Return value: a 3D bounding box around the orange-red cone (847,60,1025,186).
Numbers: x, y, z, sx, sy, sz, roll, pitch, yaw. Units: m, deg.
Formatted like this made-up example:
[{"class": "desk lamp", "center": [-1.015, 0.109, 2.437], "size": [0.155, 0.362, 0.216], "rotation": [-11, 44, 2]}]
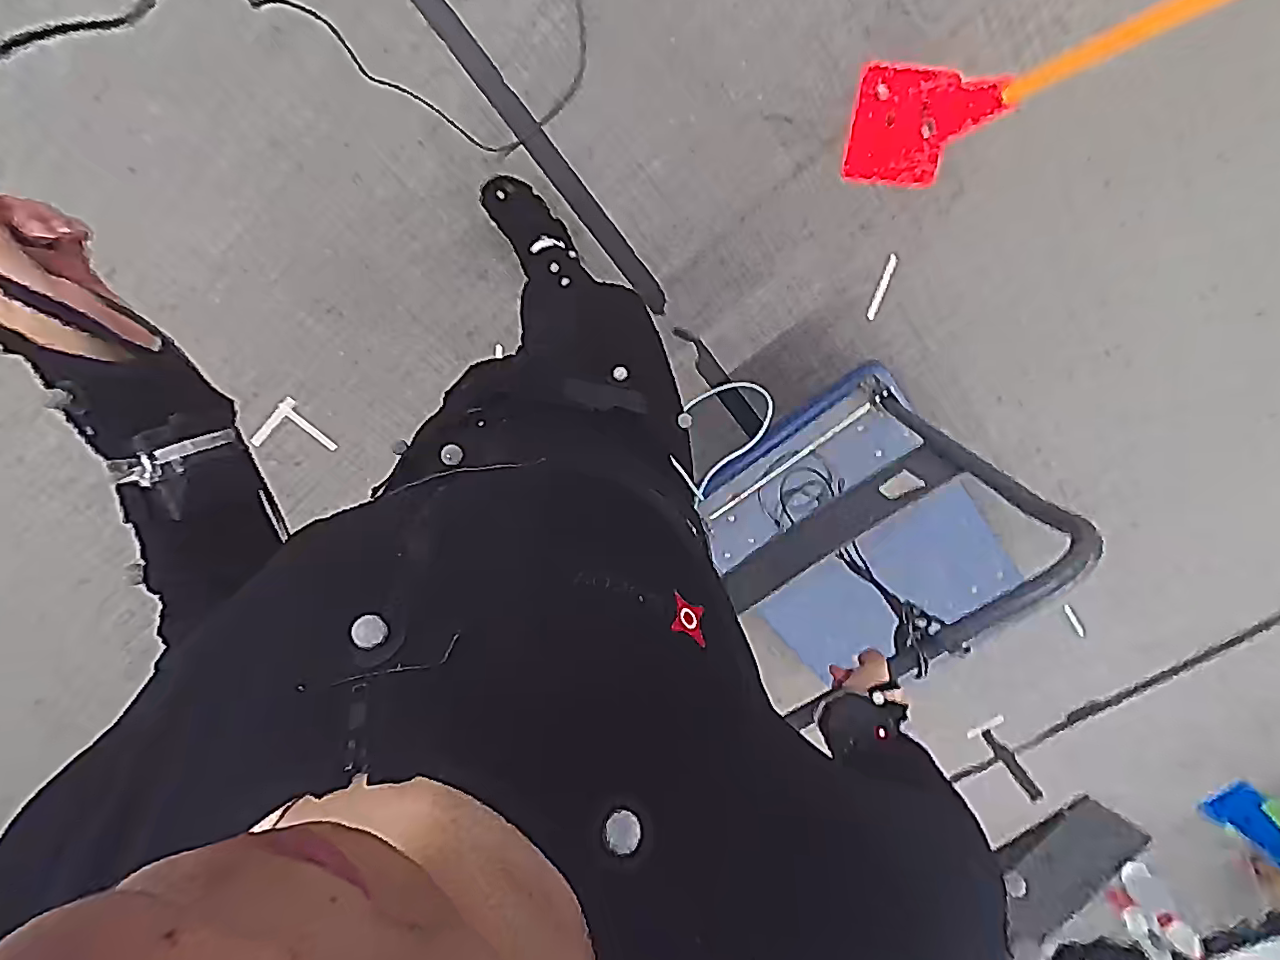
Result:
[{"class": "orange-red cone", "center": [0.530, -0.628, 0.926], "size": [0.198, 0.360, 0.199], "rotation": [5, 117, -3]}]
